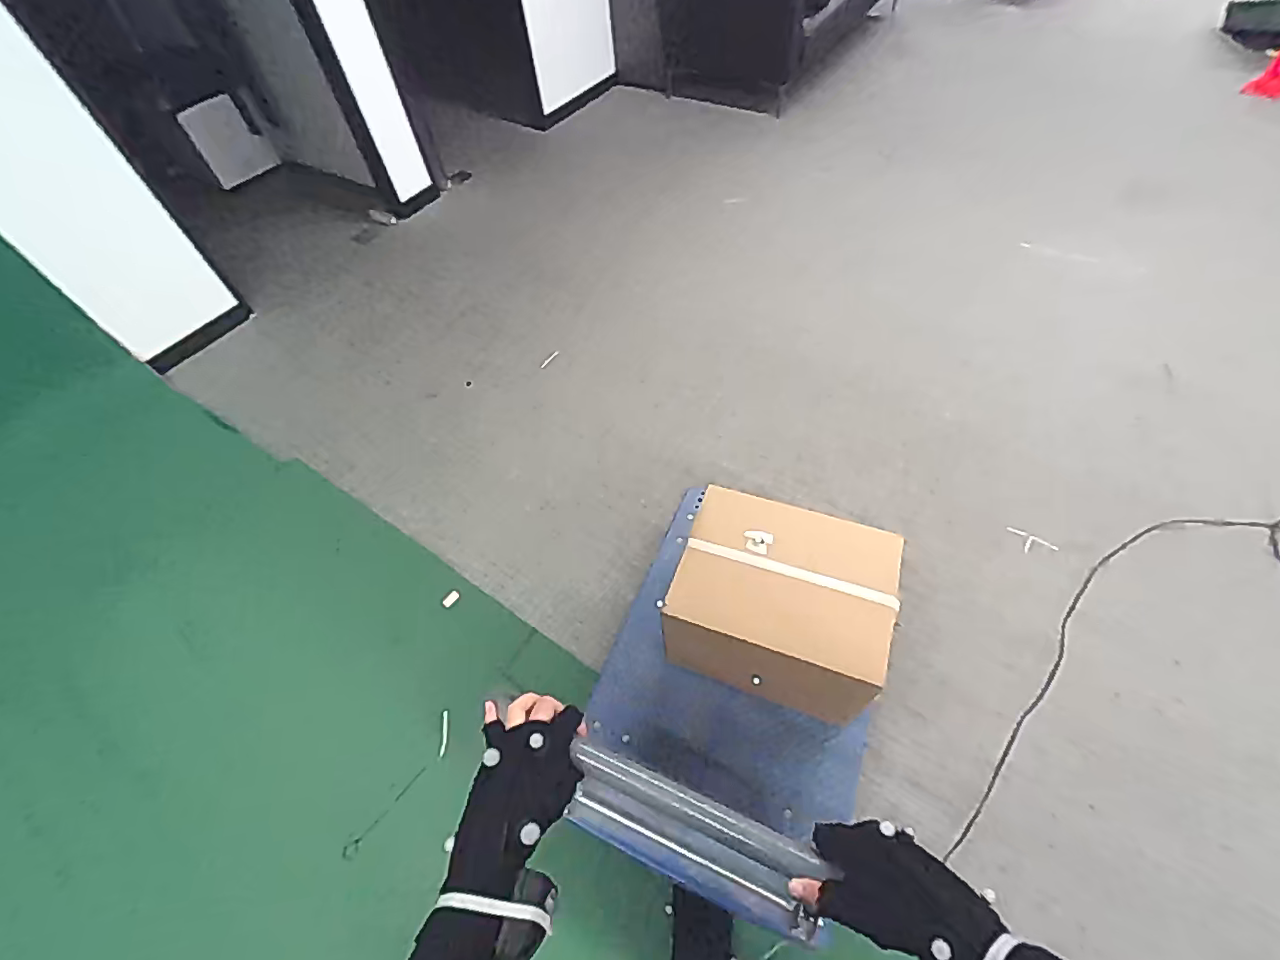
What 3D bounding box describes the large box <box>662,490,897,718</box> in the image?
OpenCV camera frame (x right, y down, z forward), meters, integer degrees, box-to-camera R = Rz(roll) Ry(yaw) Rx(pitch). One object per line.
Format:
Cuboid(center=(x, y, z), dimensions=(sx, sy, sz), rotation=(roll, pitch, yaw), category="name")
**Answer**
Cuboid(center=(0.293, 0.269, 1.170), dimensions=(0.408, 0.320, 0.320), rotation=(14, 56, 16), category="large box")
